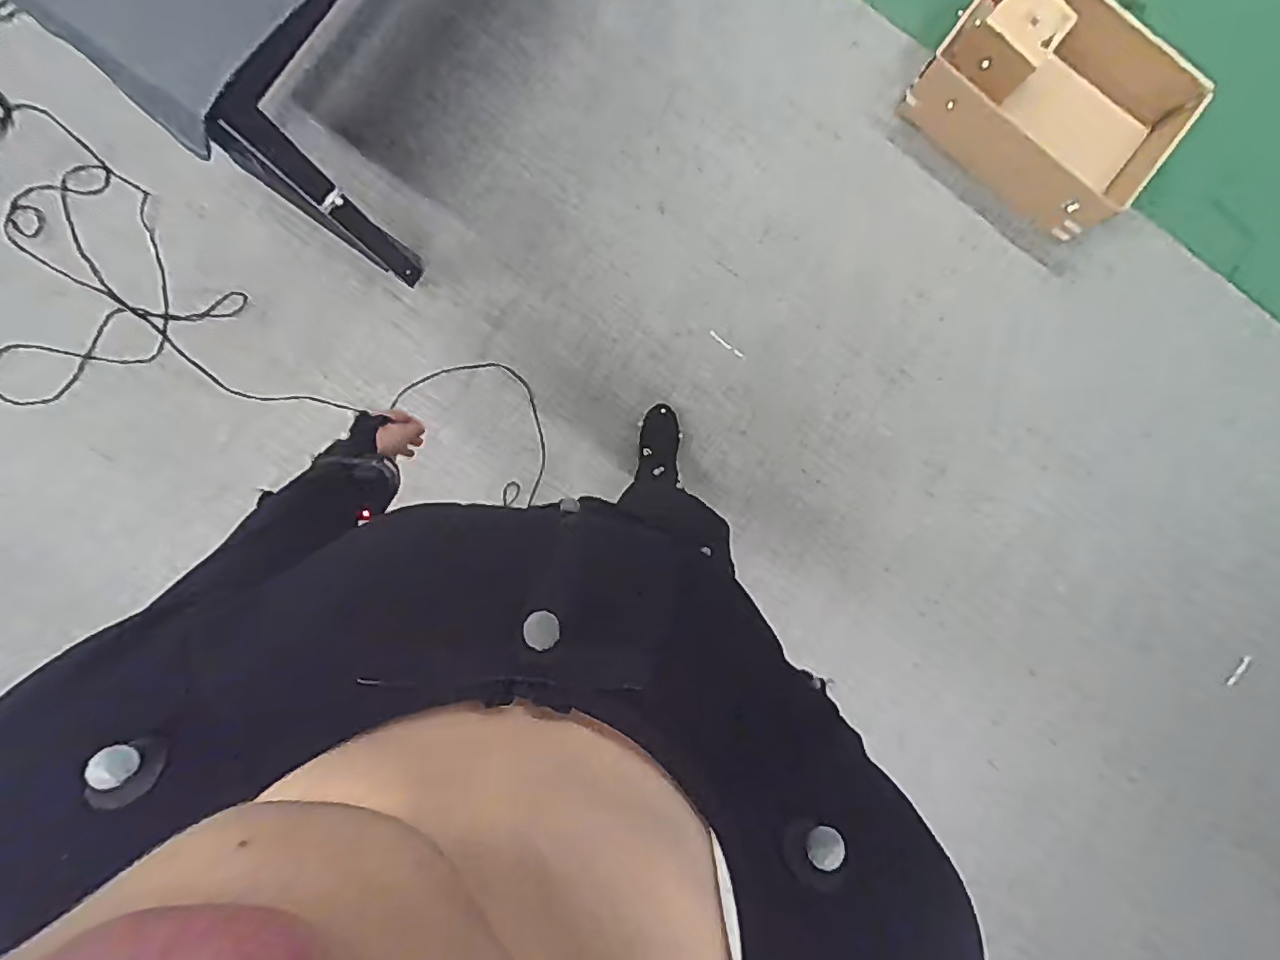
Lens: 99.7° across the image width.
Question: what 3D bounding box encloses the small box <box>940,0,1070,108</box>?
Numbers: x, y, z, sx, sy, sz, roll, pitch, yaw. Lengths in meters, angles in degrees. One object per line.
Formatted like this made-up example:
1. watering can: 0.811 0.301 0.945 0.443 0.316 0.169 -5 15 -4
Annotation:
1. small box: 0.915 -1.105 1.375 0.179 0.176 0.168 38 90 -3
